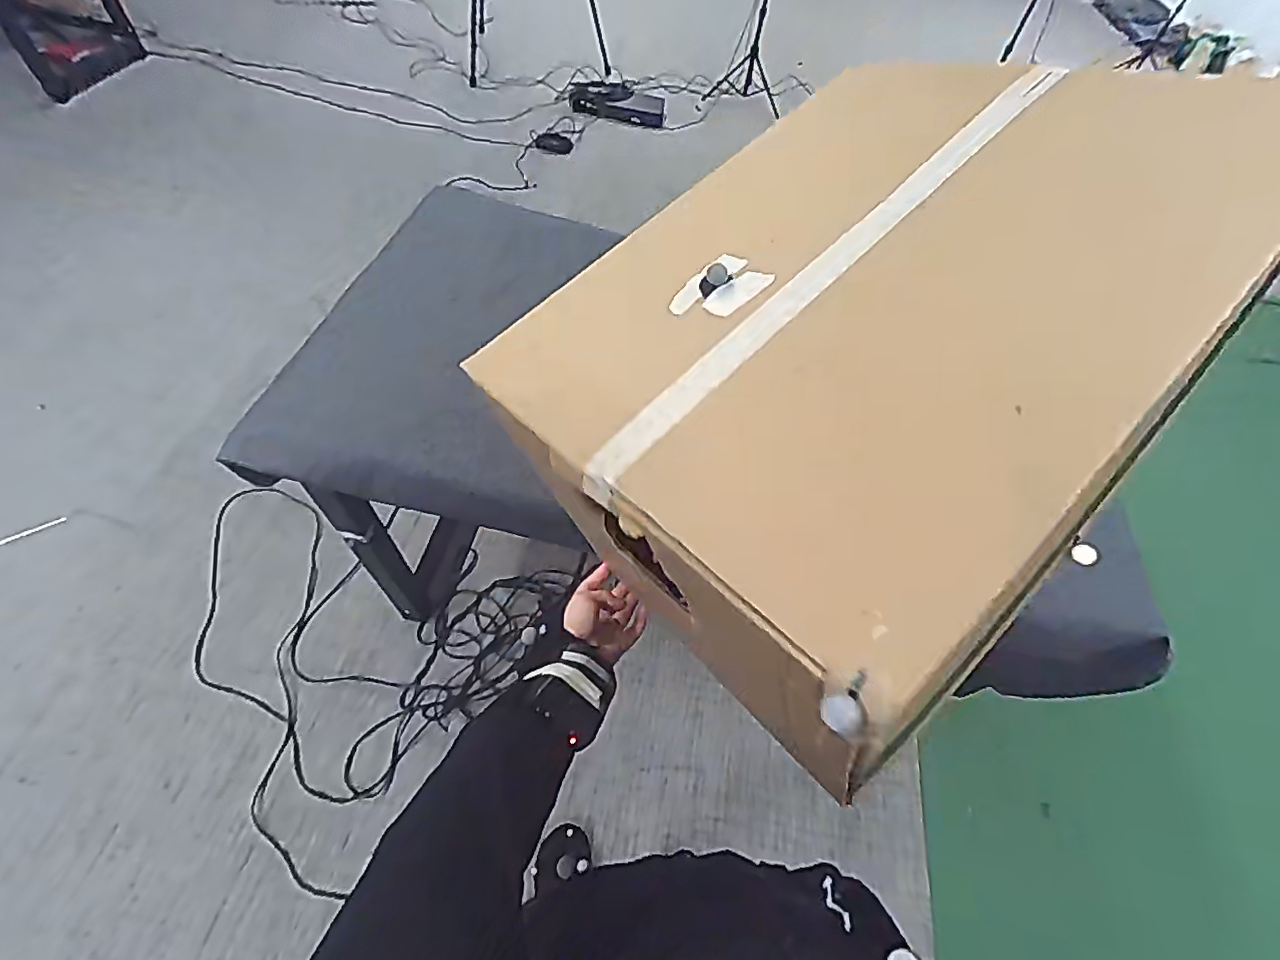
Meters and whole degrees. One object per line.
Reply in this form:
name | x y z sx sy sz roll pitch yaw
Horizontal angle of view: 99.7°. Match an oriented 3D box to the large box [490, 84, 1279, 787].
large box | 0.174 -0.038 0.441 0.408 0.320 0.320 -44 53 -12
